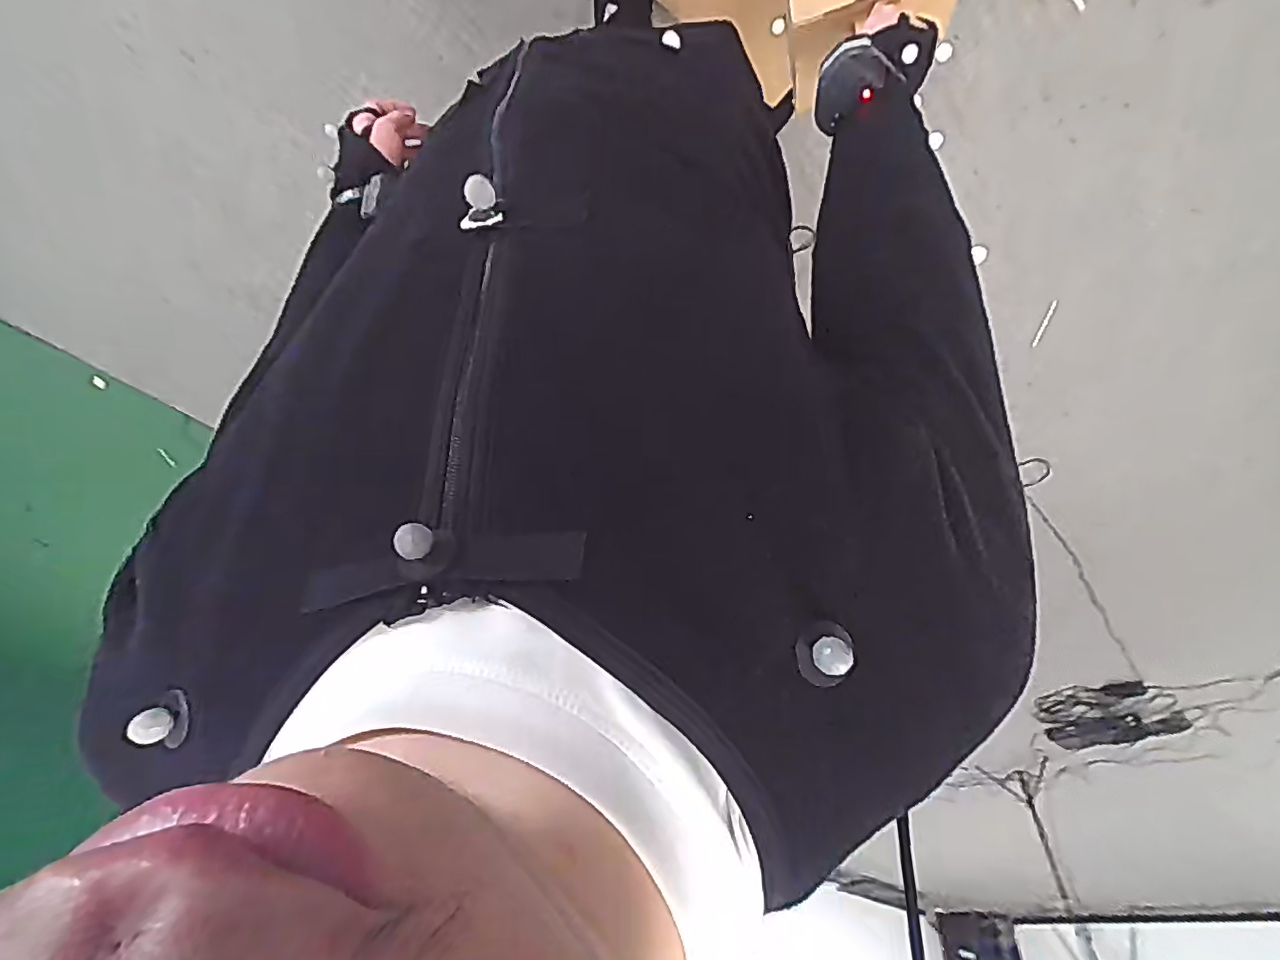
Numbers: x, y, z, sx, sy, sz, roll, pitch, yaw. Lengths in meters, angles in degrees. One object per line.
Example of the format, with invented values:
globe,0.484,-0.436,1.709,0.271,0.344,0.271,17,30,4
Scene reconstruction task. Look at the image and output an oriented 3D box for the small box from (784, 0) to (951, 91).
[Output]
small box,0.243,-0.569,0.590,0.168,0.176,0.179,-6,94,17
